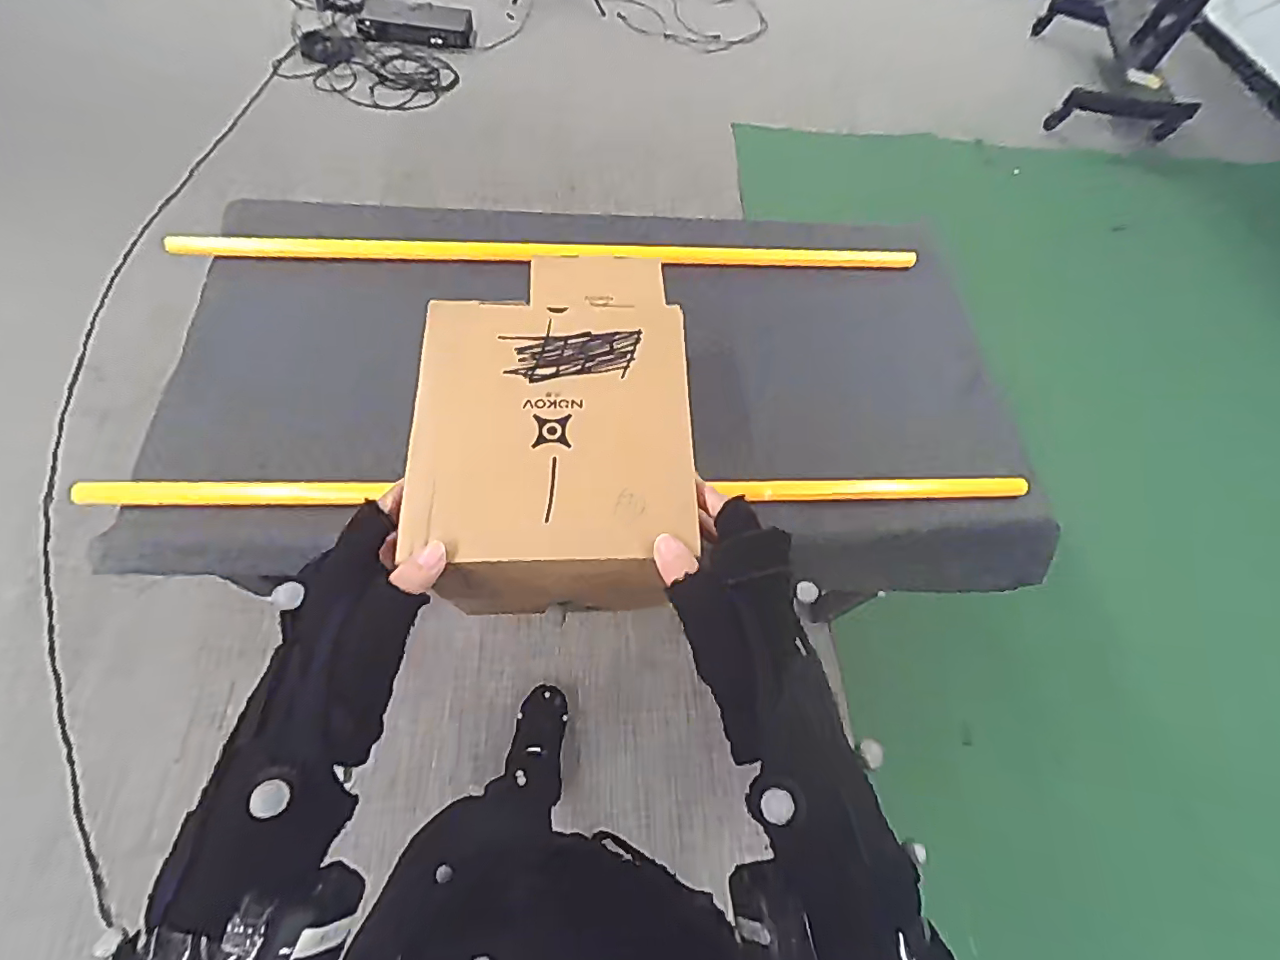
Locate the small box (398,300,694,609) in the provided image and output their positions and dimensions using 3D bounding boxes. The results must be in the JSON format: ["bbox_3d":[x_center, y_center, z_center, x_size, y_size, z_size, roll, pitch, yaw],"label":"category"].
[{"bbox_3d":[-0.058,-0.008,0.403,0.168,0.176,0.179,-1,67,-4],"label":"small box"}]

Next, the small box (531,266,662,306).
[{"bbox_3d":[-0.058,-0.161,0.727,0.168,0.176,0.179,-3,64,-6],"label":"small box"}]
